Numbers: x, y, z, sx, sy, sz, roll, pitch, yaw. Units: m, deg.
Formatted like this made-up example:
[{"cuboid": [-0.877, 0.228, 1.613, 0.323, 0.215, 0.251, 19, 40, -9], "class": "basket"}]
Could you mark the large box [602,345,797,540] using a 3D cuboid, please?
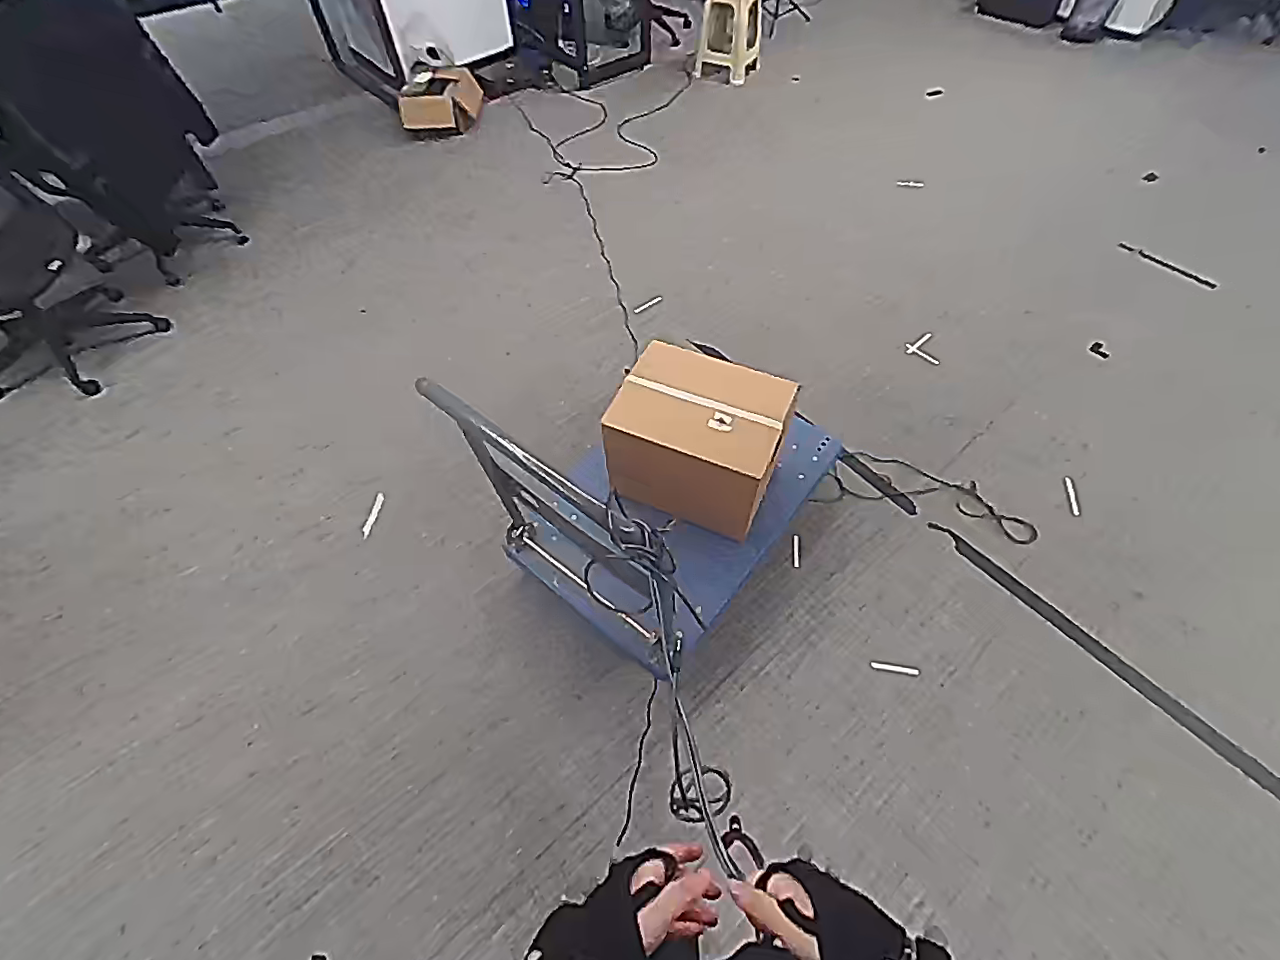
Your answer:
[{"cuboid": [0.149, -0.097, 1.430, 0.408, 0.320, 0.320, 21, 60, 14], "class": "large box"}]
